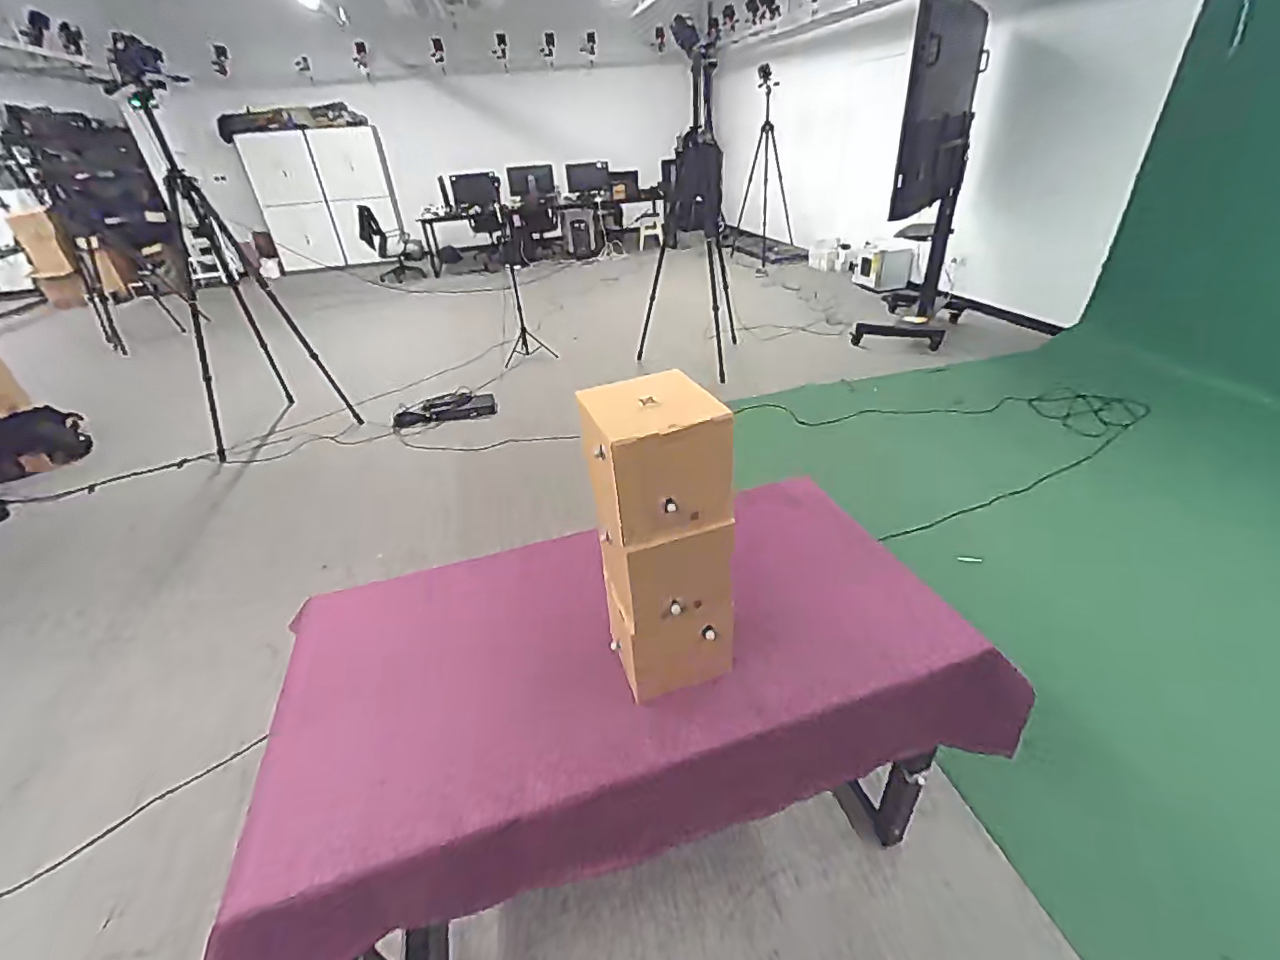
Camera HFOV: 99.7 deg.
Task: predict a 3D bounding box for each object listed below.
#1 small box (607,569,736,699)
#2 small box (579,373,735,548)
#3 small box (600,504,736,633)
[{"bbox_3d":[0.052,0.244,0.939,0.179,0.176,0.168,-13,33,-12],"label":"small box"},{"bbox_3d":[0.020,-0.033,0.770,0.168,0.176,0.179,-16,35,-15],"label":"small box"},{"bbox_3d":[0.038,0.106,0.854,0.168,0.176,0.179,-14,34,-13],"label":"small box"}]
